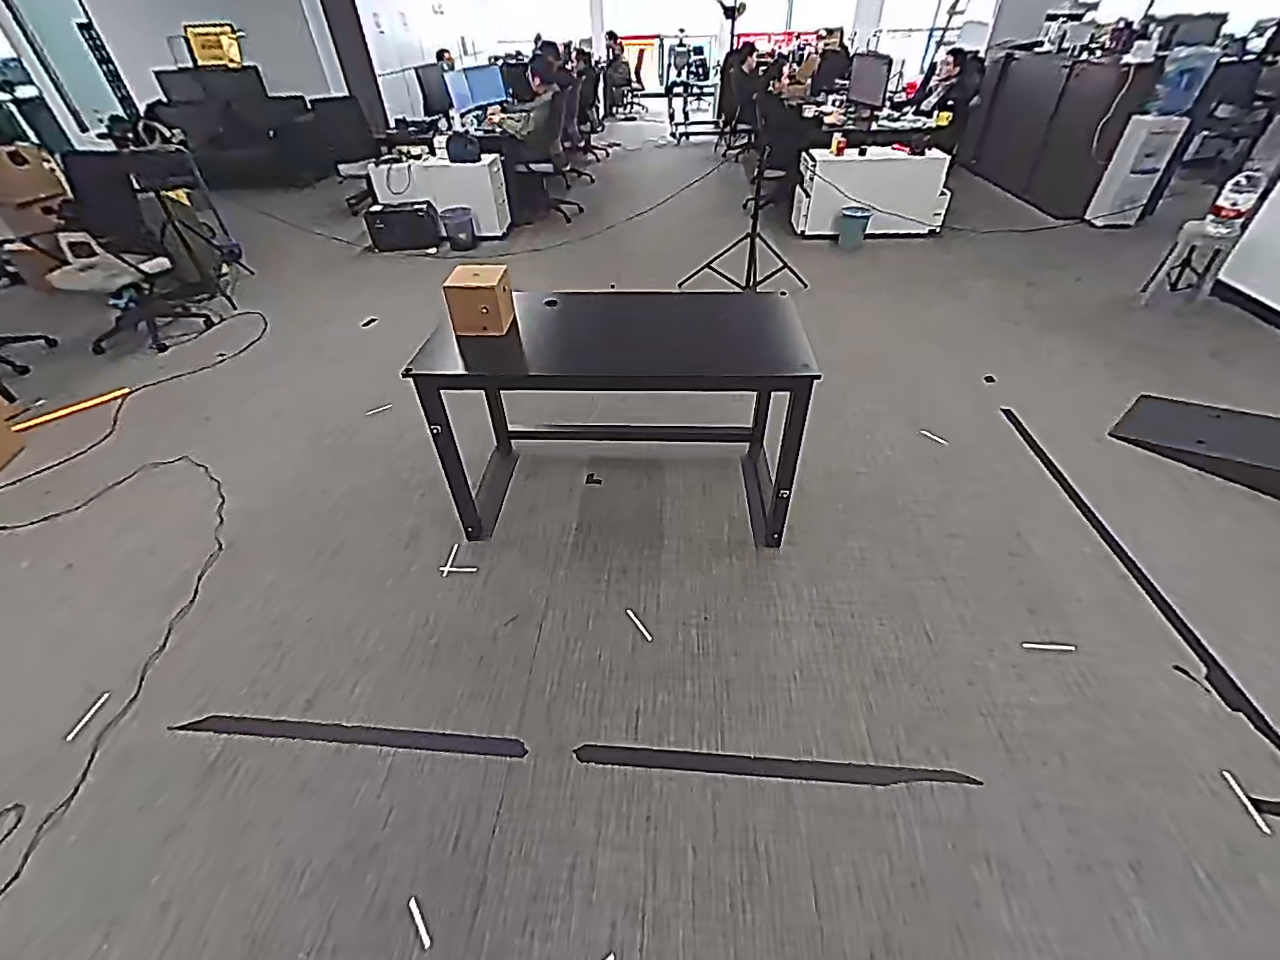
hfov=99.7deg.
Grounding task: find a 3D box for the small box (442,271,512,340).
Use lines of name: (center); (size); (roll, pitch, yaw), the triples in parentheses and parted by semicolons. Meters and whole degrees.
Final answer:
small box: (-0.525, -0.570, 1.771); (0.168, 0.176, 0.179); (1, 40, 1)
